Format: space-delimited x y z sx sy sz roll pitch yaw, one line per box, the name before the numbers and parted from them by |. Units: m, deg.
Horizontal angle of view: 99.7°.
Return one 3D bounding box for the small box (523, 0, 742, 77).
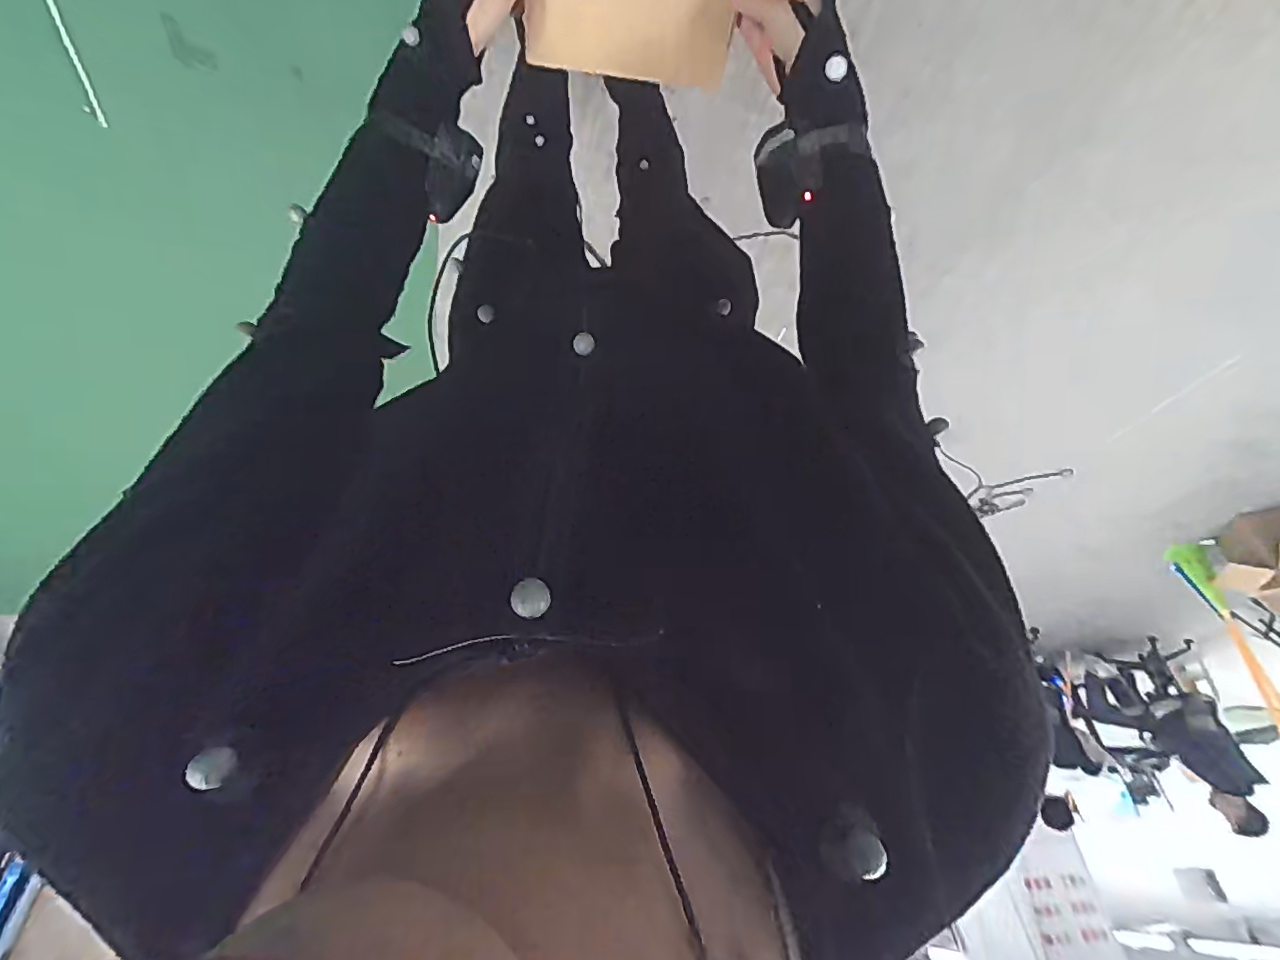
small box | -0.005 -0.470 0.446 0.179 0.176 0.168 0 144 -11
